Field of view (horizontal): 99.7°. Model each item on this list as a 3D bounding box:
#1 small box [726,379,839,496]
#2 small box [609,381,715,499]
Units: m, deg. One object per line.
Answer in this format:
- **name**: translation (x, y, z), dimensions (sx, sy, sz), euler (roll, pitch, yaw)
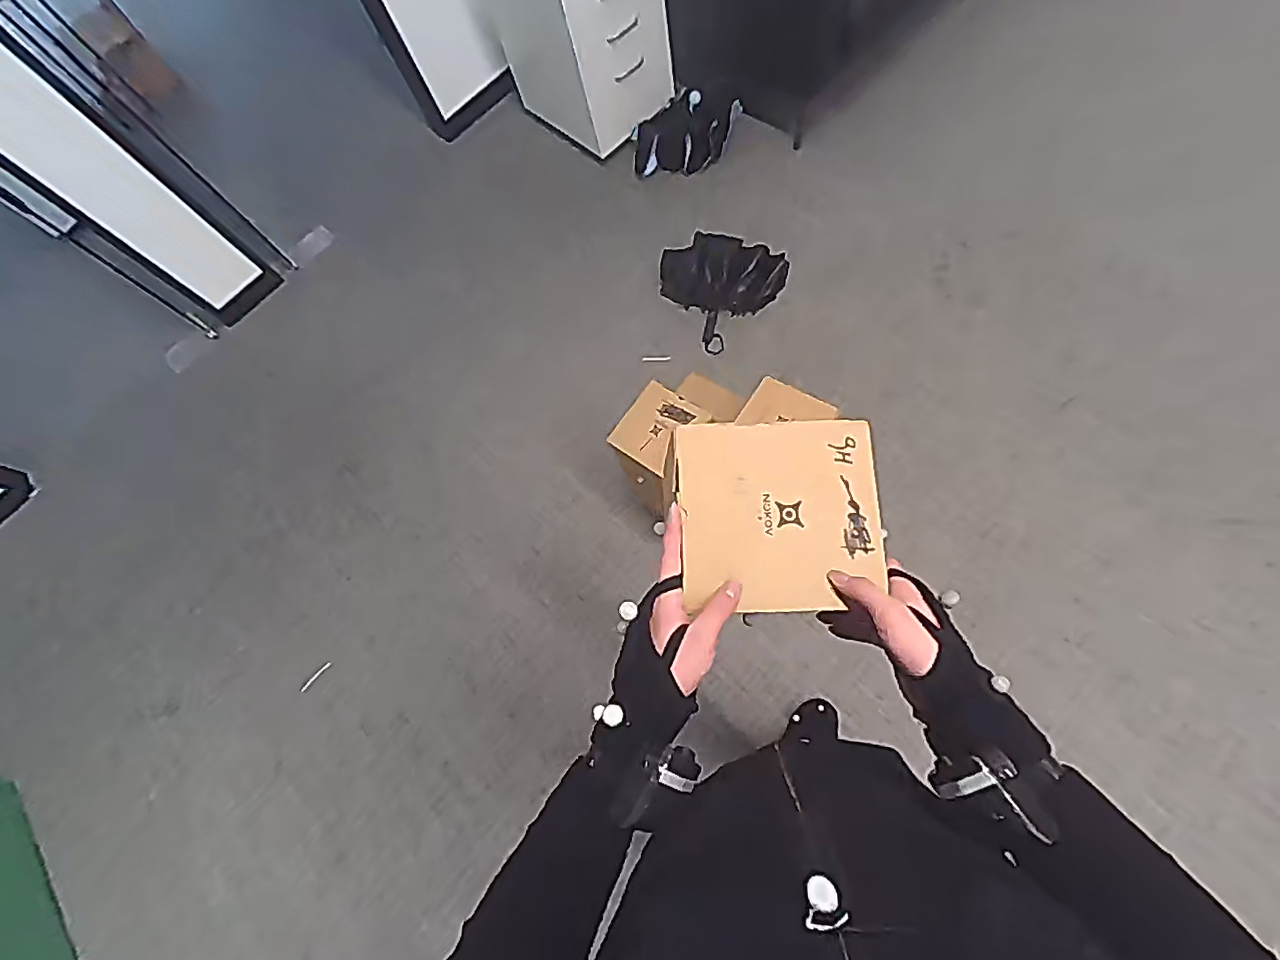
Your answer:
- **small box**: translation (0.306, -0.085, 1.186), dimensions (0.179, 0.176, 0.168), euler (30, 74, 21)
- **small box**: translation (0.059, -0.085, 1.234), dimensions (0.168, 0.176, 0.179), euler (35, 82, 21)
